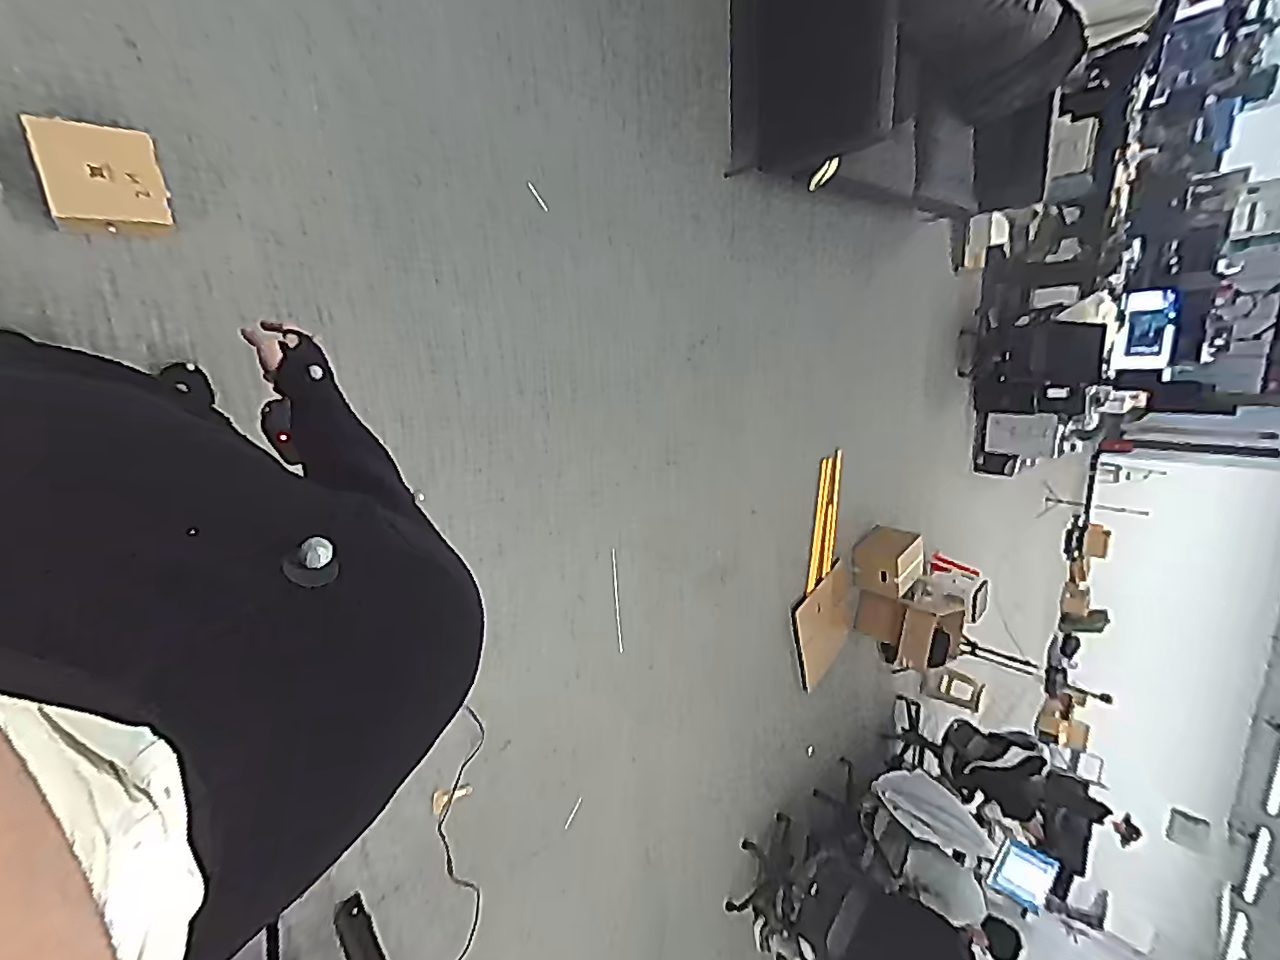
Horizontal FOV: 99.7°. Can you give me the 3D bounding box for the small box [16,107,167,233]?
[{"bbox_3d":[-1.067,-0.597,1.067,0.179,0.176,0.168,-15,109,-41],"label":"small box"}]
